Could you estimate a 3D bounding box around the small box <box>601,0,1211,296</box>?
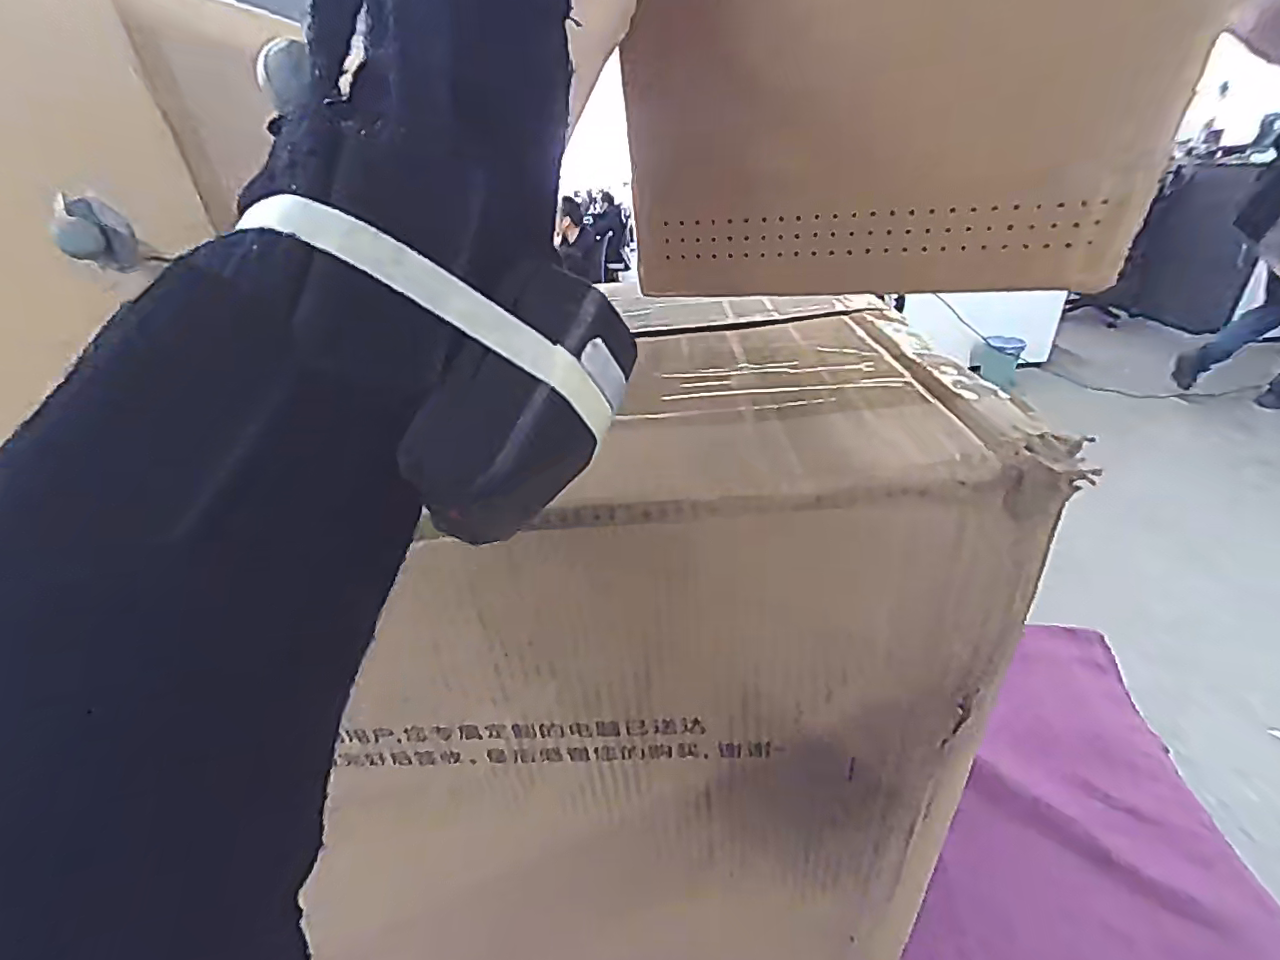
[{"bbox_3d":[0.092,-0.185,0.219,0.179,0.176,0.168,4,39,17],"label":"small box"}]
